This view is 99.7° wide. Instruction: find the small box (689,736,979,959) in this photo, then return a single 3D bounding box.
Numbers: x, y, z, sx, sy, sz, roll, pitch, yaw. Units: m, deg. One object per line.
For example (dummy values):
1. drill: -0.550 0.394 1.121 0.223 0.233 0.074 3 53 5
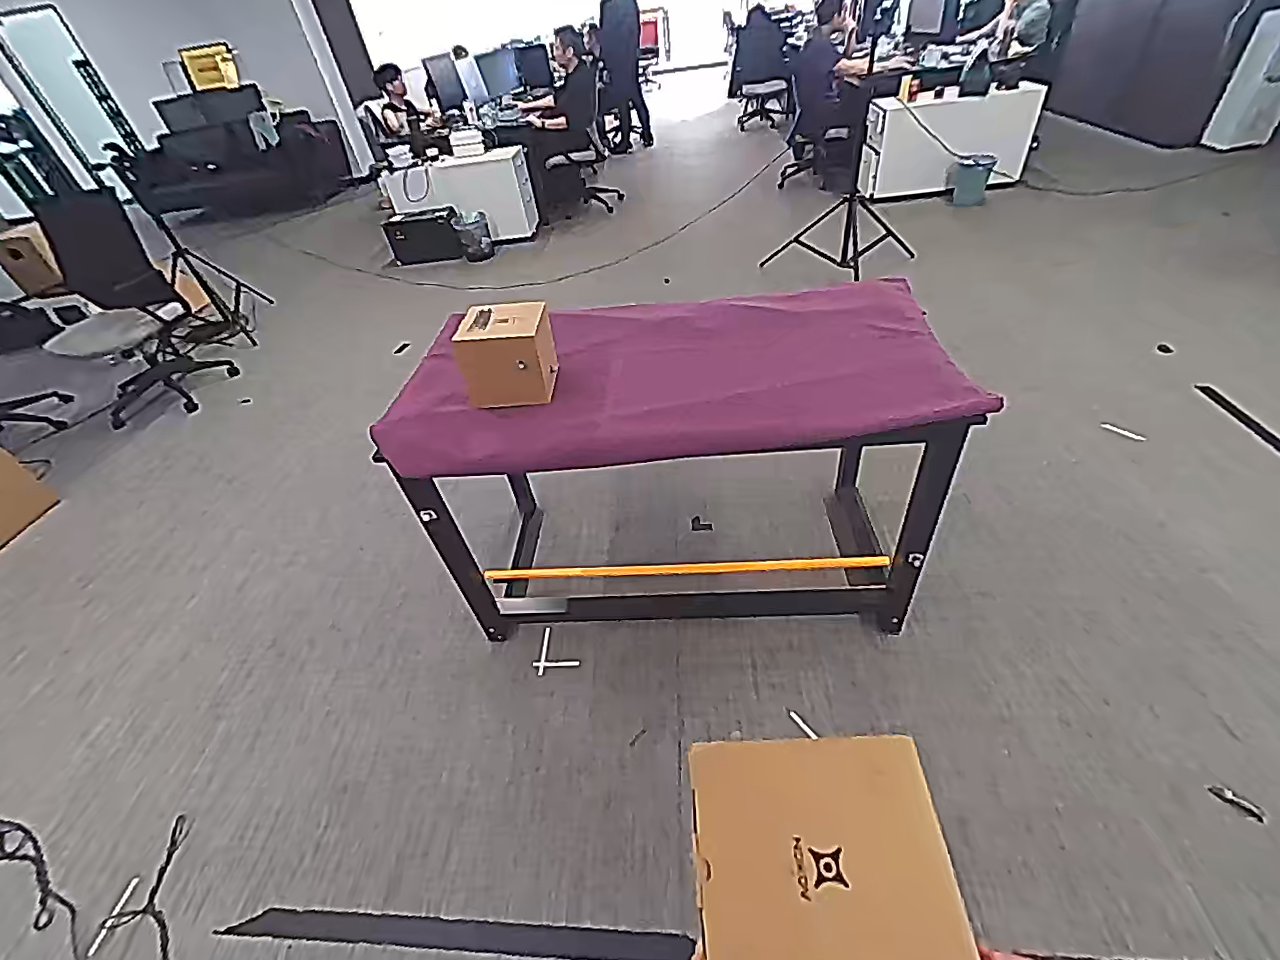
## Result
1. small box: 0.136 0.316 0.437 0.179 0.176 0.168 -7 51 6
